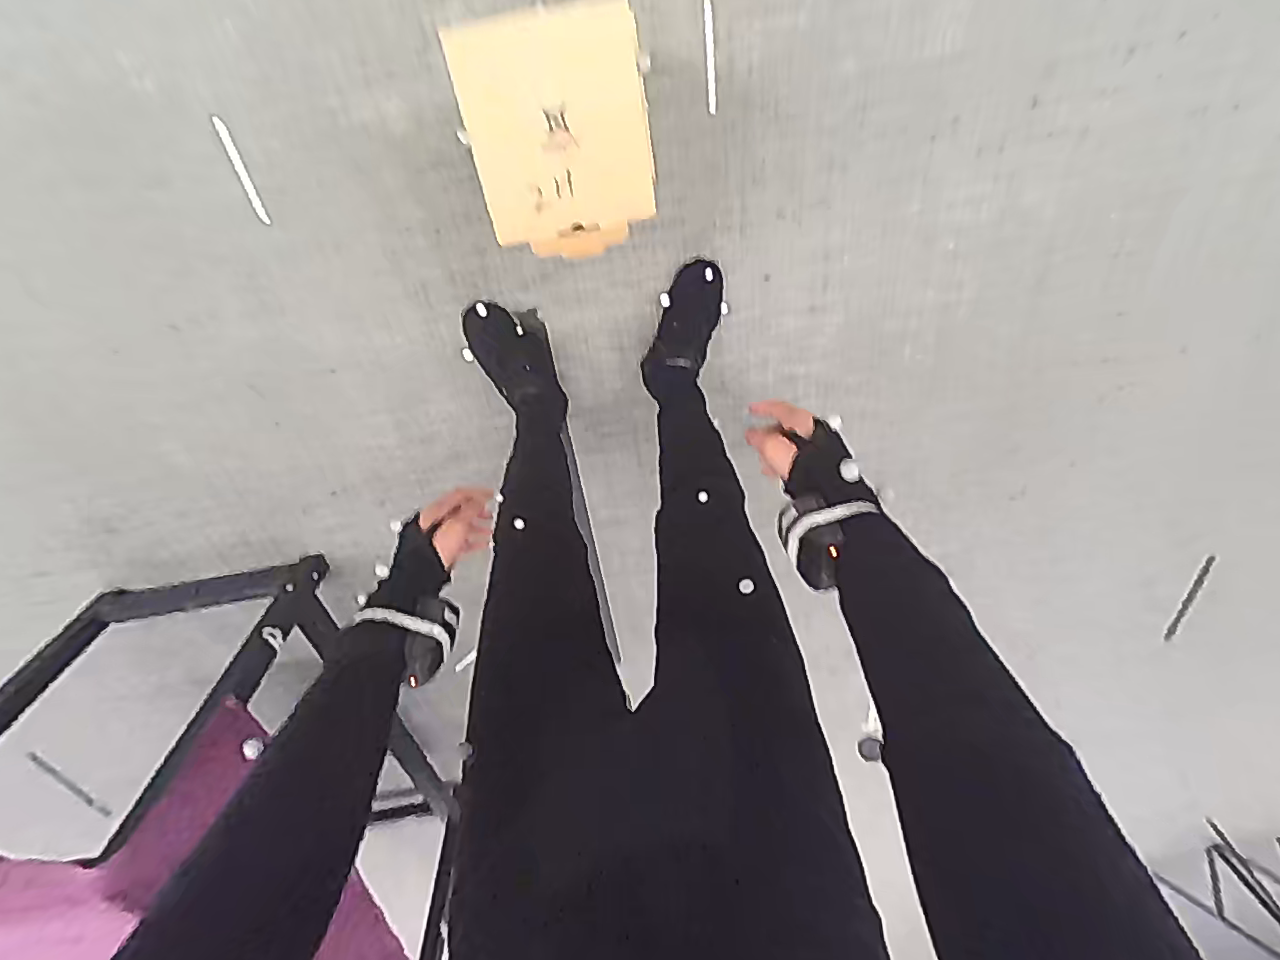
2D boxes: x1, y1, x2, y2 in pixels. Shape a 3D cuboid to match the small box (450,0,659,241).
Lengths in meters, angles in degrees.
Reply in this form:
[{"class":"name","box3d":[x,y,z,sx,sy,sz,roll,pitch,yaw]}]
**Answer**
[{"class":"small box","box3d":[-0.080,-0.370,0.572,0.168,0.176,0.179,-10,123,1]}]
